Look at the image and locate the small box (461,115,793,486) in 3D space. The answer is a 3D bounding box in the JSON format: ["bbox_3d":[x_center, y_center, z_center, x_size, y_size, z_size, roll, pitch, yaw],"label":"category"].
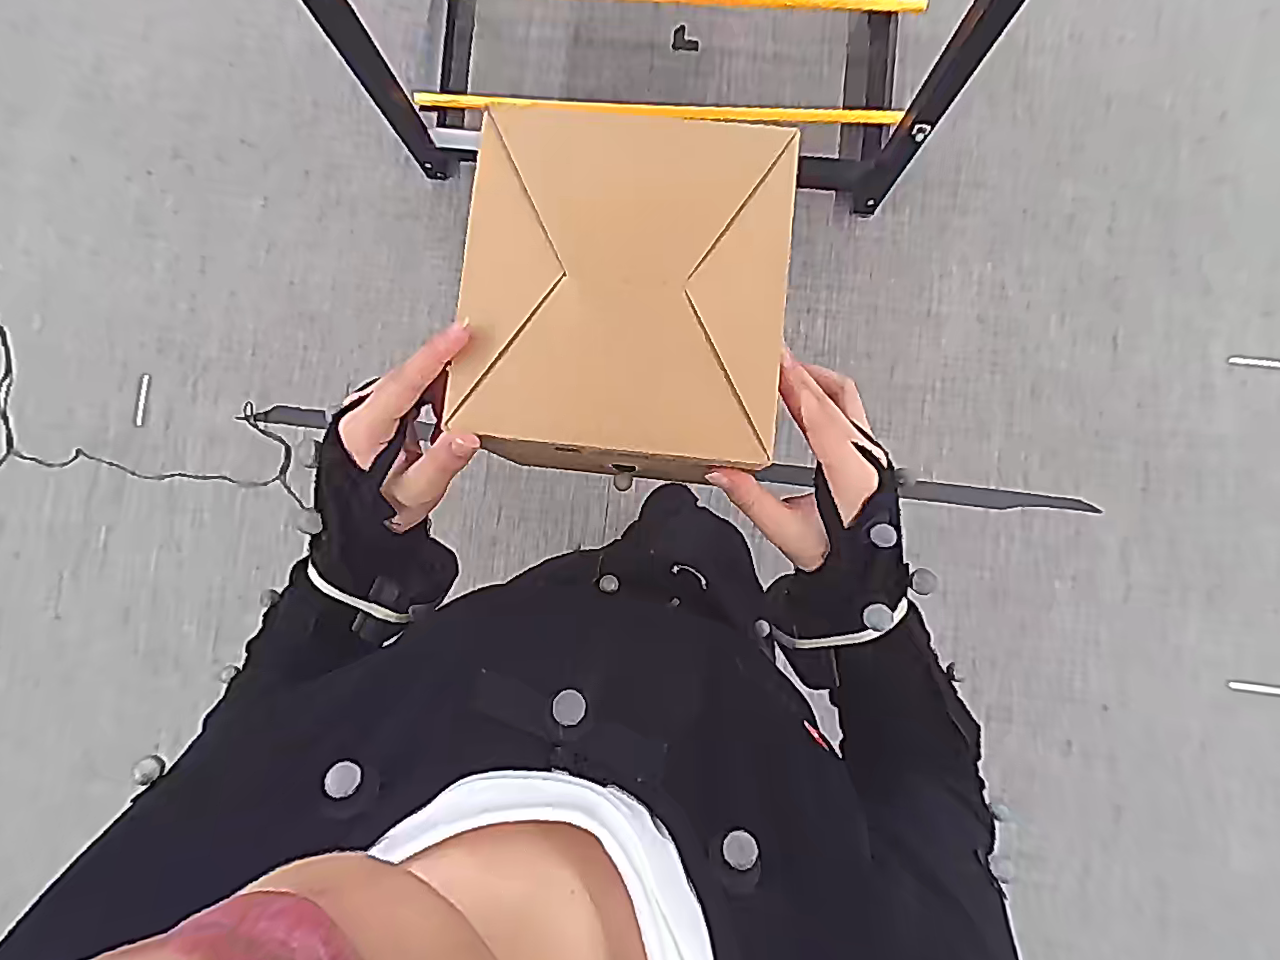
[{"bbox_3d":[-0.006,-0.096,0.358,0.168,0.176,0.179,6,86,1],"label":"small box"}]
